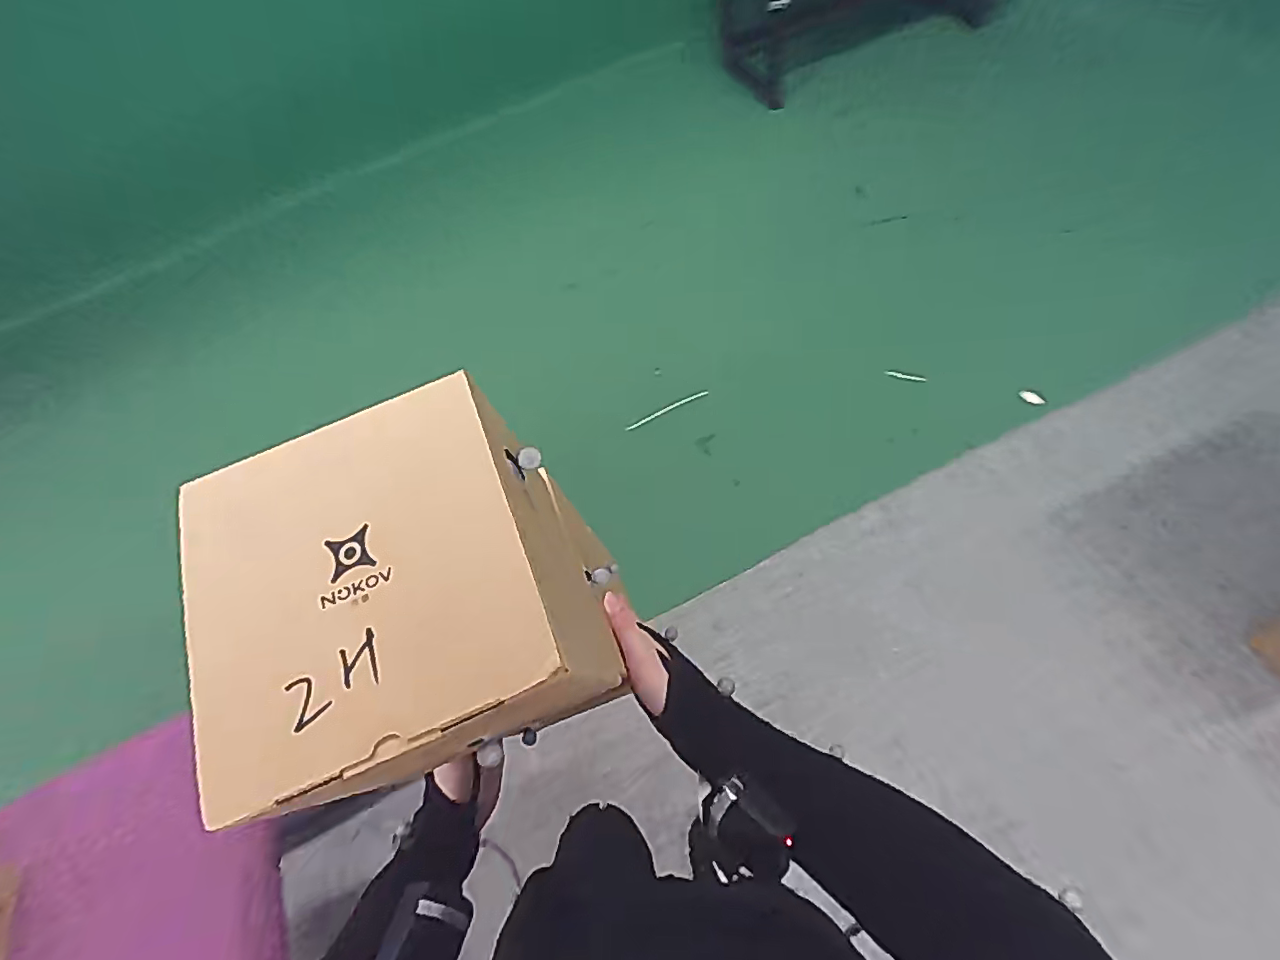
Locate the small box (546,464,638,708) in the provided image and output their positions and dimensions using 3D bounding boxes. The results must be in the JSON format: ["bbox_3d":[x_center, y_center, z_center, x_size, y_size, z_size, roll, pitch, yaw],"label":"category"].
[{"bbox_3d":[-0.110,0.116,0.498,0.168,0.176,0.179,-21,67,-1],"label":"small box"}]

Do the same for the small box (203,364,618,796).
[{"bbox_3d":[-0.125,0.066,0.341,0.168,0.176,0.179,-22,67,-2],"label":"small box"}]
